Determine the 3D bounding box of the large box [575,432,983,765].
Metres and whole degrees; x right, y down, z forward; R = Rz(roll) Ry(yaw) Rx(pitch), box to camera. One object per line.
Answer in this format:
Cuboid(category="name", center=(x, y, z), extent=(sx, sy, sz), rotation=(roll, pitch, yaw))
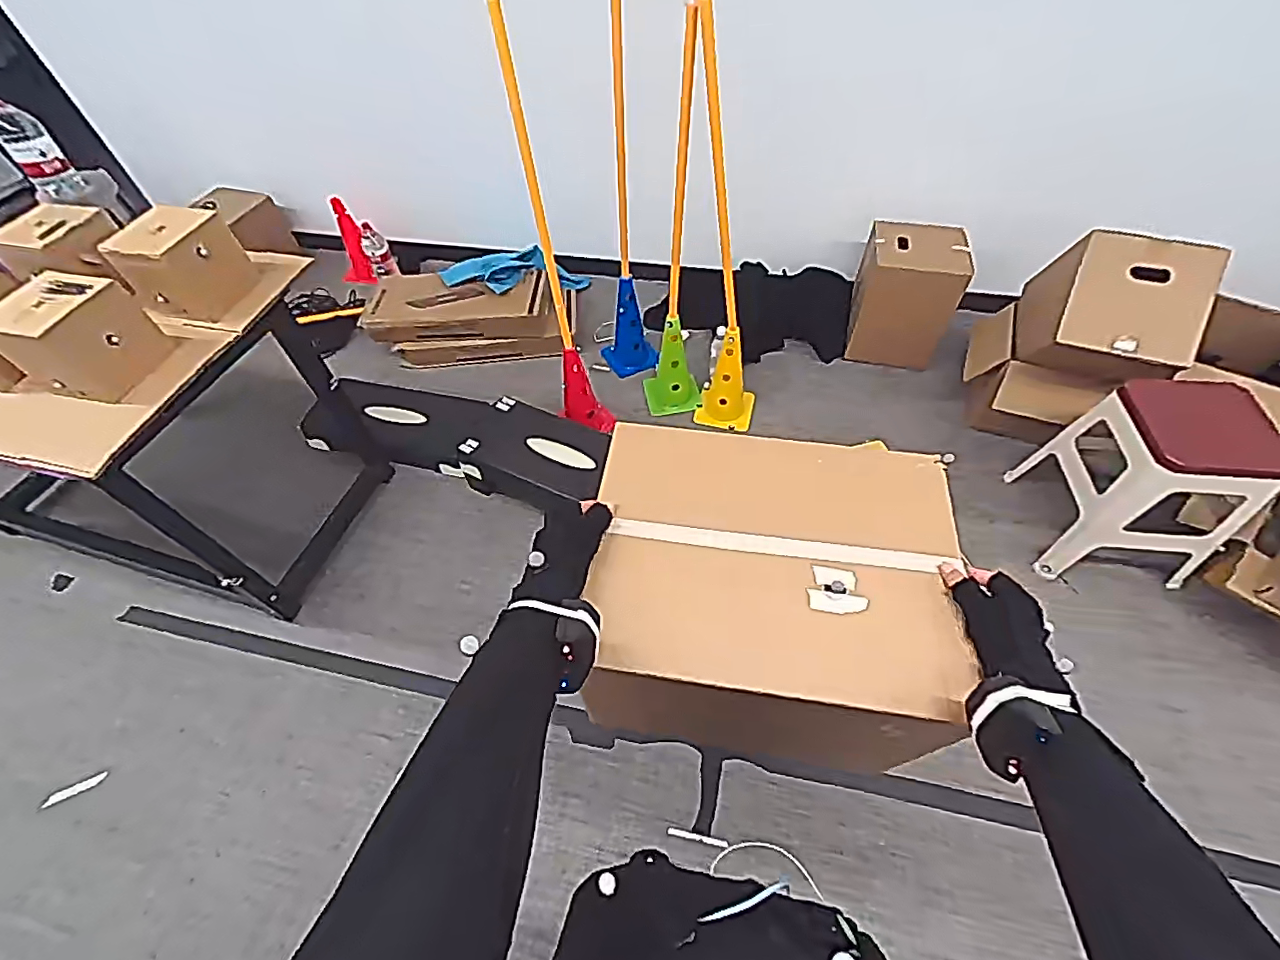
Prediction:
Cuboid(category="large box", center=(0.152, 0.165, 0.731), extent=(0.408, 0.320, 0.320), rotation=(7, 56, 7))
